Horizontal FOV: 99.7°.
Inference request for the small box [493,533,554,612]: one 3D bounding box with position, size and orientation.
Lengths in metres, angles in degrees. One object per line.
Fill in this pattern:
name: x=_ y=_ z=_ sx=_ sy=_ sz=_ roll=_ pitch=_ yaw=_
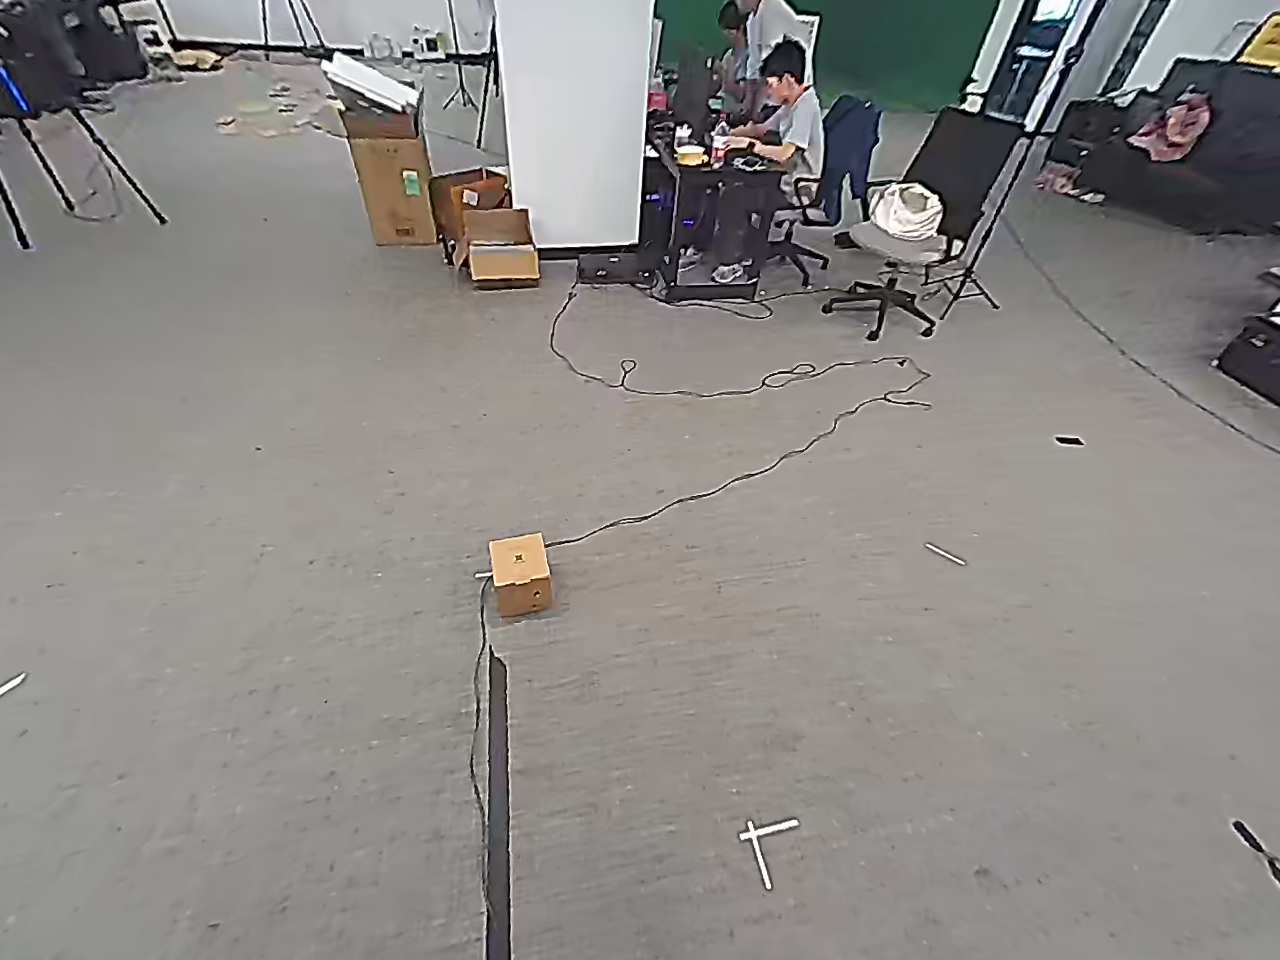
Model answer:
small box: x=-0.367 y=0.298 z=1.709 sx=0.168 sy=0.176 sz=0.179 roll=-8 pitch=45 yaw=-14
